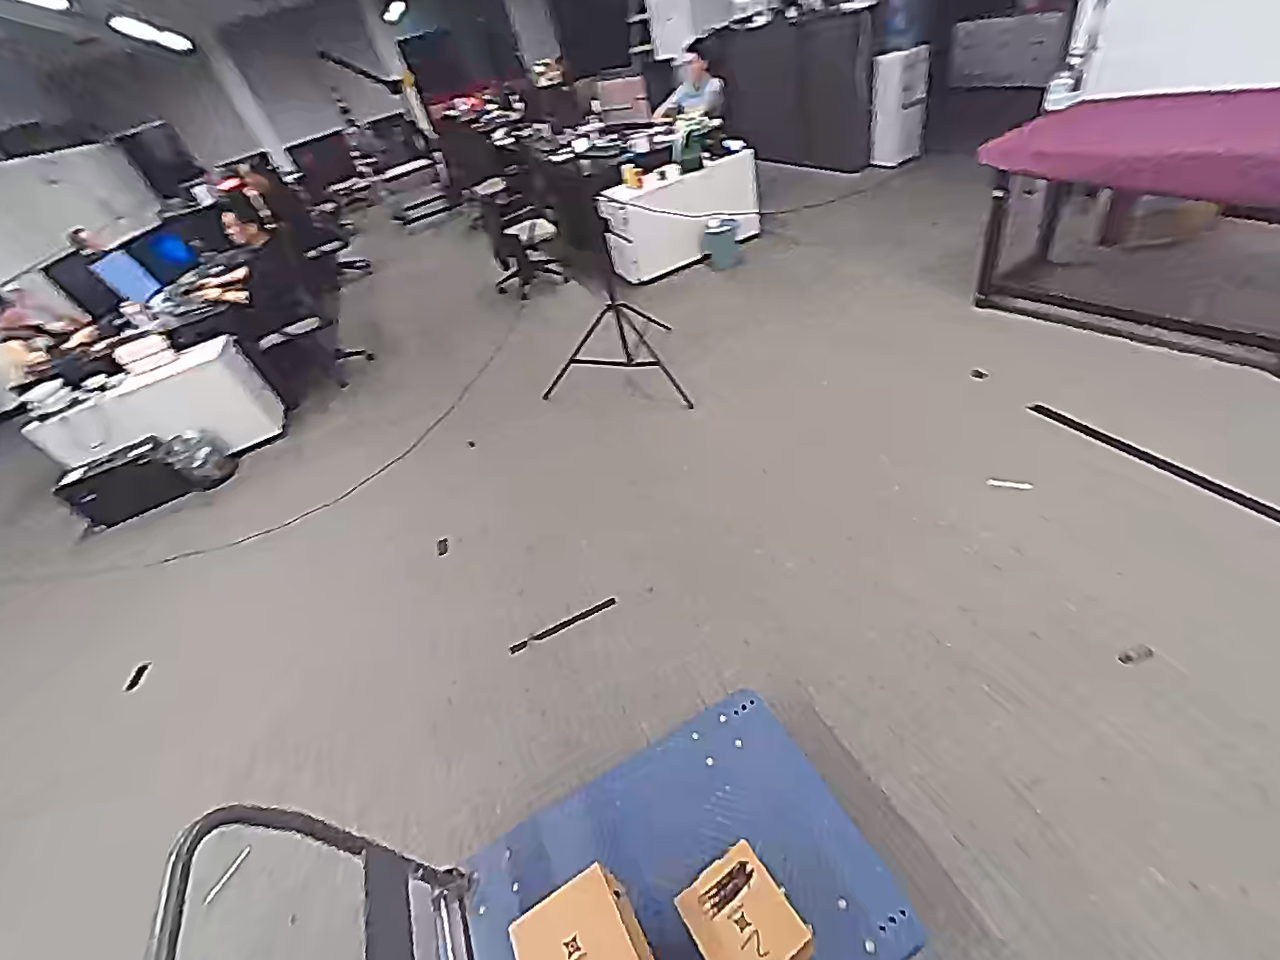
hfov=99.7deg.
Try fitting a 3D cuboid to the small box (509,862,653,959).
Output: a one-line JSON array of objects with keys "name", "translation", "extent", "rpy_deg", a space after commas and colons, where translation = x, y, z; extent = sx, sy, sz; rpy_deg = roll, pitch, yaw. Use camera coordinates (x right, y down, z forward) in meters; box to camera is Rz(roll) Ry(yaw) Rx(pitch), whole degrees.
[{"name": "small box", "translation": [-0.082, 0.765, 0.859], "extent": [0.168, 0.176, 0.179], "rpy_deg": [-29, 42, -14]}]
